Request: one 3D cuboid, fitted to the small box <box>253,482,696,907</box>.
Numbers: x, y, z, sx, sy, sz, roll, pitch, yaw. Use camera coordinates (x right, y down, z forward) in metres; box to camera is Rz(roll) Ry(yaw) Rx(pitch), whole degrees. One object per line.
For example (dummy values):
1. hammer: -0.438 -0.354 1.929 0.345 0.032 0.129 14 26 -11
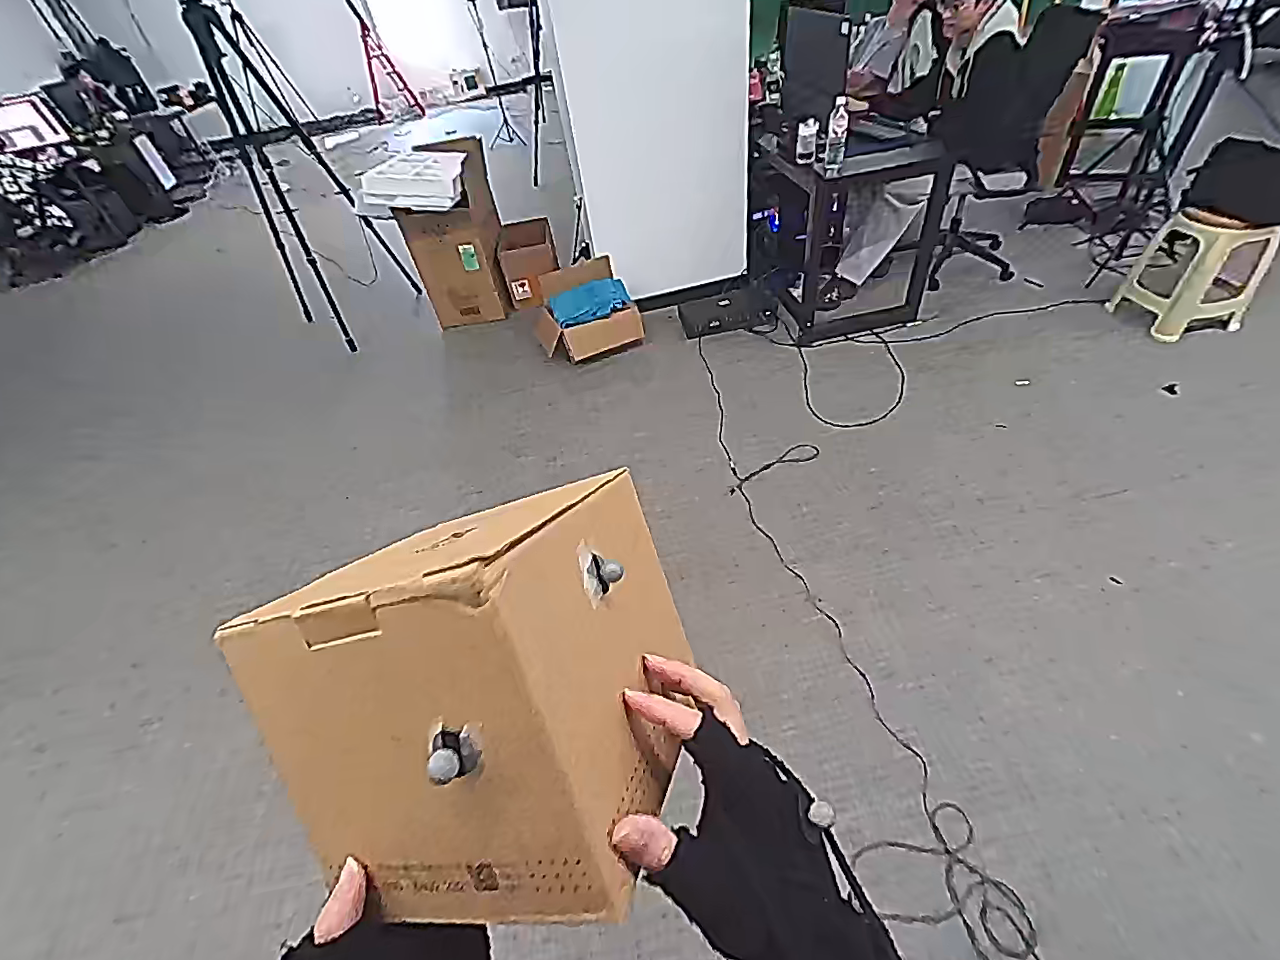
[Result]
1. small box: -0.078 0.119 0.337 0.168 0.176 0.179 -16 7 23
